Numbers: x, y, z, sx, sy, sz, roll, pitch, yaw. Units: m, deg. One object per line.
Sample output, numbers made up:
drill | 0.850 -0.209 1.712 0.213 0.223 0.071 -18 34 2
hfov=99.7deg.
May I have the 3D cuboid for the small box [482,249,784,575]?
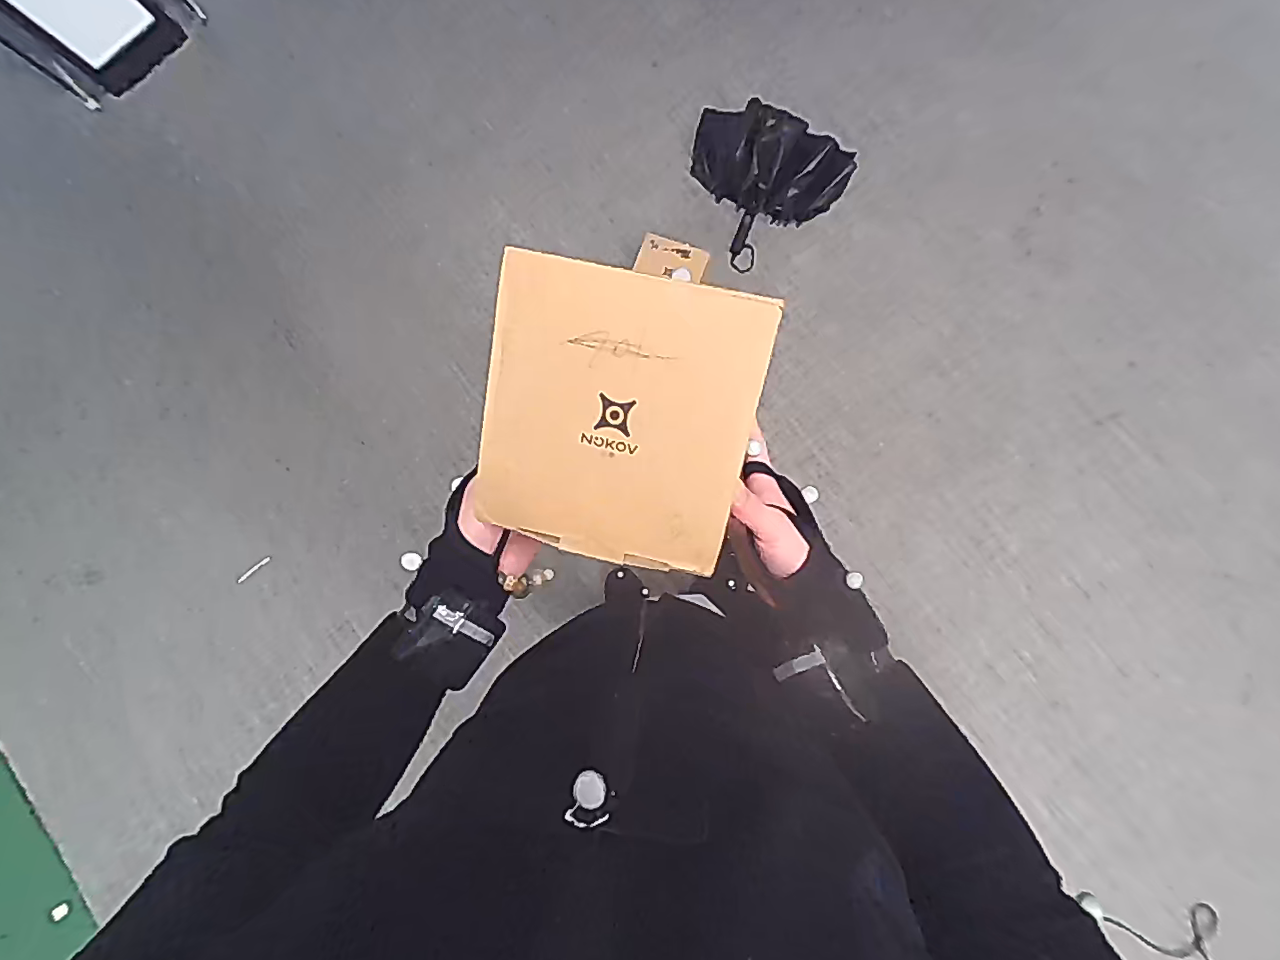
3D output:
small box | -0.001 -0.056 0.410 0.168 0.176 0.179 12 105 4
